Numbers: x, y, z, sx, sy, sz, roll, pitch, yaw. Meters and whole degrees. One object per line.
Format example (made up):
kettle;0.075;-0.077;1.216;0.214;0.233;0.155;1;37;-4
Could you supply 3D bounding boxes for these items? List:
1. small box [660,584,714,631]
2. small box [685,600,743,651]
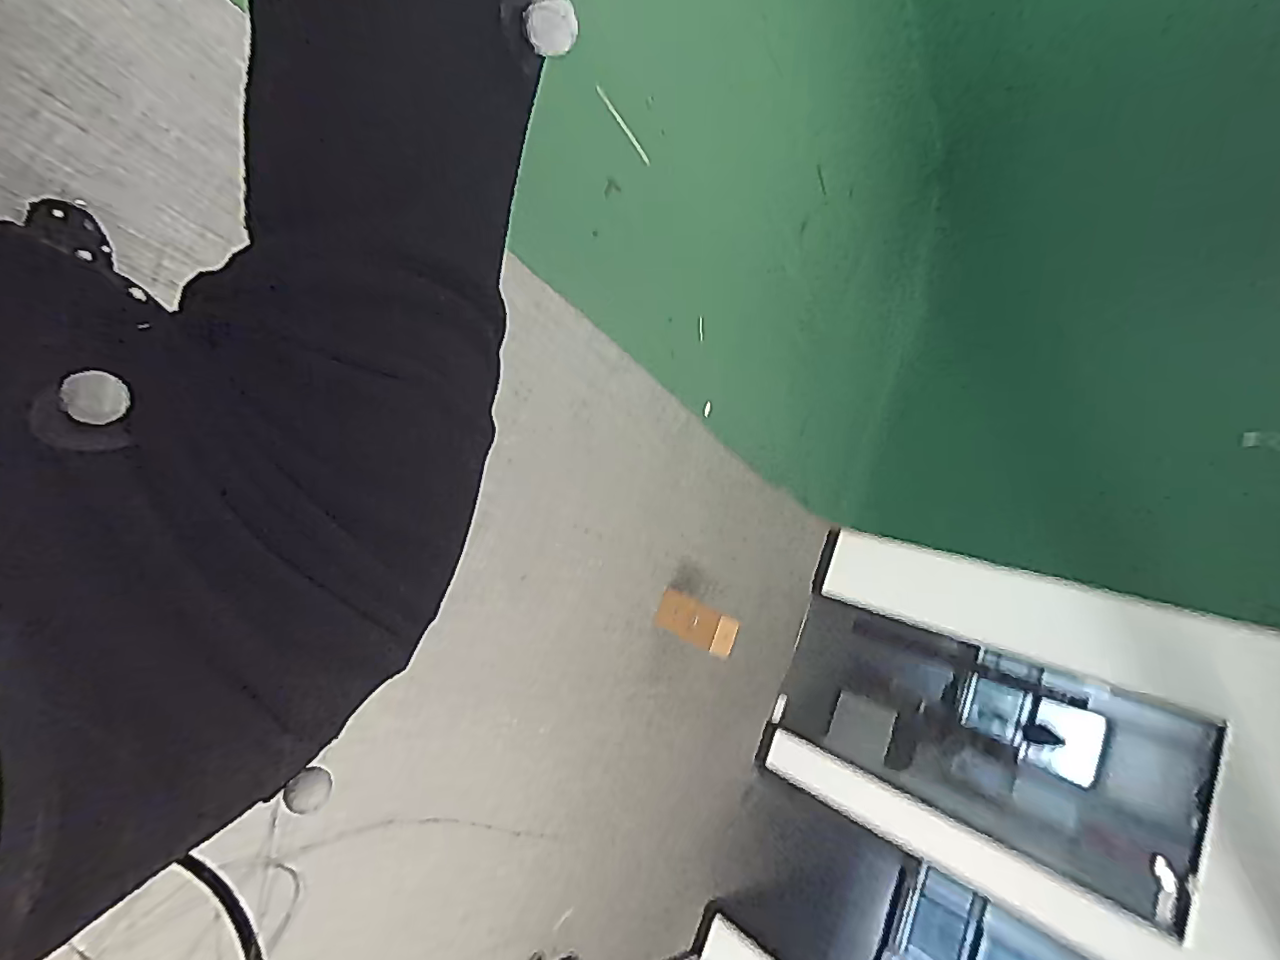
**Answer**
small box;0.215;0.612;2.541;0.168;0.176;0.179;34;73;-47
small box;0.332;0.655;2.439;0.179;0.176;0.168;32;74;-46
